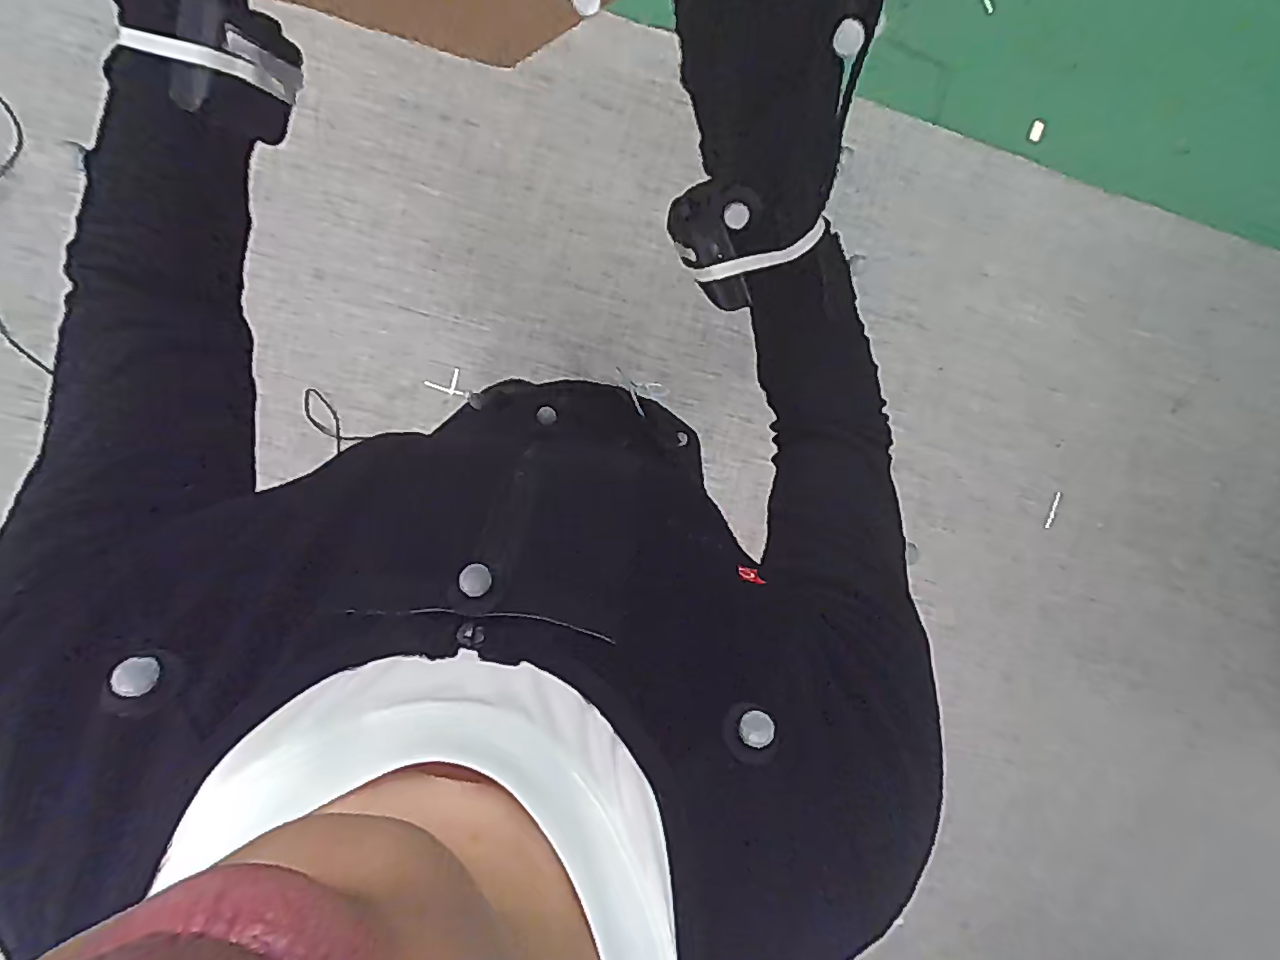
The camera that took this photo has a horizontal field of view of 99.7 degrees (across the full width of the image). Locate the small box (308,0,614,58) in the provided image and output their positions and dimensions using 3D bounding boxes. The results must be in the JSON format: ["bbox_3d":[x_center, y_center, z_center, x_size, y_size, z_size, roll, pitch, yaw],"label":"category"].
[{"bbox_3d":[-0.068,-0.316,0.219,0.179,0.176,0.168,-5,111,31],"label":"small box"}]
